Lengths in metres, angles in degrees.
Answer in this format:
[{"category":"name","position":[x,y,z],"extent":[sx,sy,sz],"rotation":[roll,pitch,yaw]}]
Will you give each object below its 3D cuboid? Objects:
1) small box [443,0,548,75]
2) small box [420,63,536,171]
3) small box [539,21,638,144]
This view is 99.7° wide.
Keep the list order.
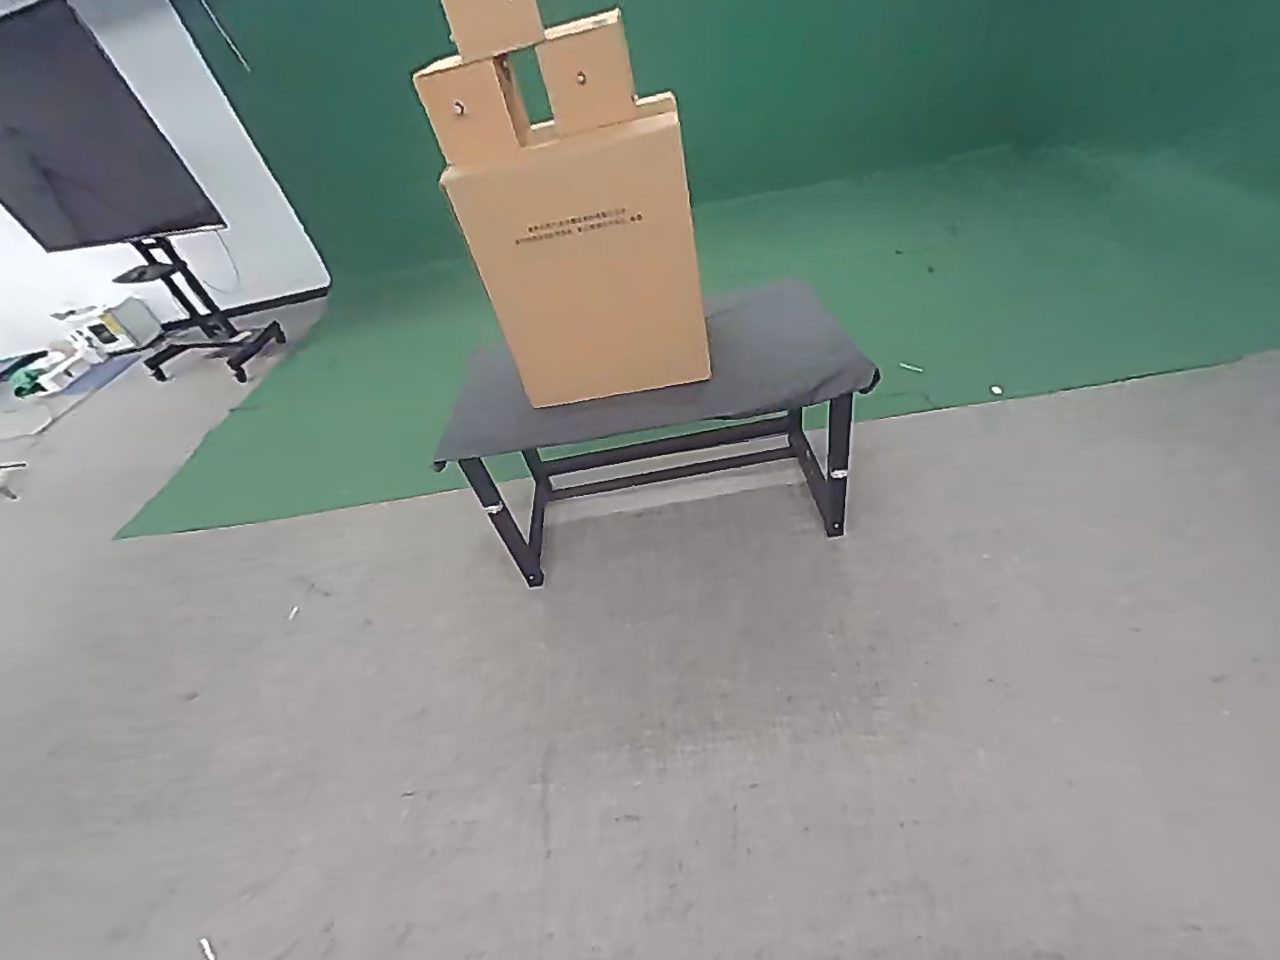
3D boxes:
[{"category":"small box","position":[-0.292,-0.951,1.095],"extent":[0.179,0.176,0.168],"rotation":[-16,44,2]},{"category":"small box","position":[-0.355,-0.821,1.219],"extent":[0.179,0.176,0.168],"rotation":[-7,46,9]},{"category":"small box","position":[-0.104,-0.876,1.197],"extent":[0.179,0.176,0.168],"rotation":[-8,46,10]}]
